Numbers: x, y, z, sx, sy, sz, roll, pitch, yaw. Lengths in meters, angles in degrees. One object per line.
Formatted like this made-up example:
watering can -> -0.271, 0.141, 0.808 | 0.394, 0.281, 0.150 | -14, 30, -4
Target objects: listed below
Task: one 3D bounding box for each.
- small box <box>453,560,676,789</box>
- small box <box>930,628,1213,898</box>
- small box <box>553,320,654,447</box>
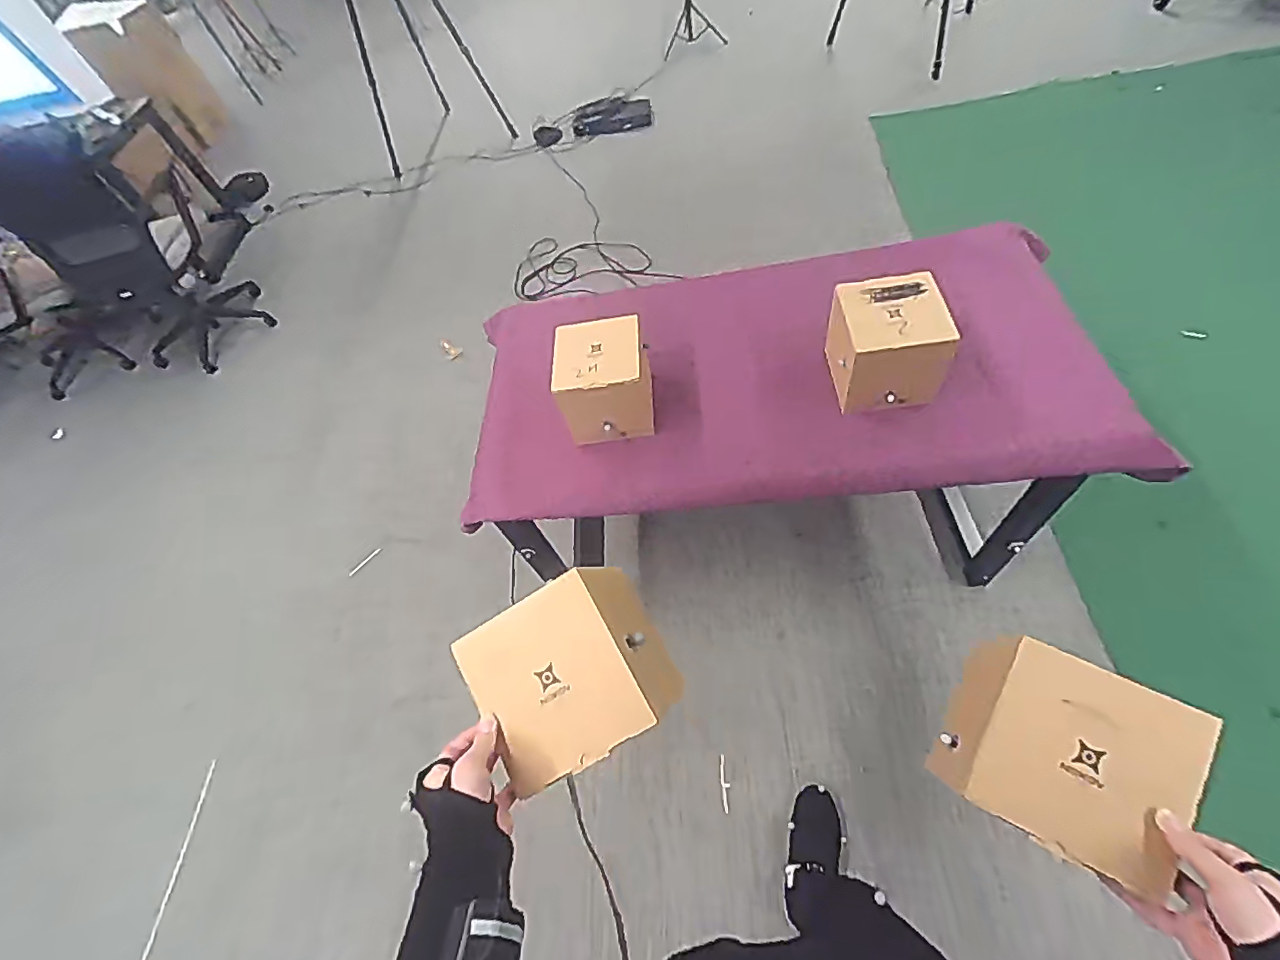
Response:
small box -> -0.077, 0.211, 0.632 | 0.168, 0.176, 0.179 | -33, 76, 6
small box -> 0.434, 0.279, 0.579 | 0.168, 0.176, 0.179 | 24, 80, 22
small box -> -0.066, -0.189, 1.083 | 0.168, 0.176, 0.179 | -7, 56, 9
